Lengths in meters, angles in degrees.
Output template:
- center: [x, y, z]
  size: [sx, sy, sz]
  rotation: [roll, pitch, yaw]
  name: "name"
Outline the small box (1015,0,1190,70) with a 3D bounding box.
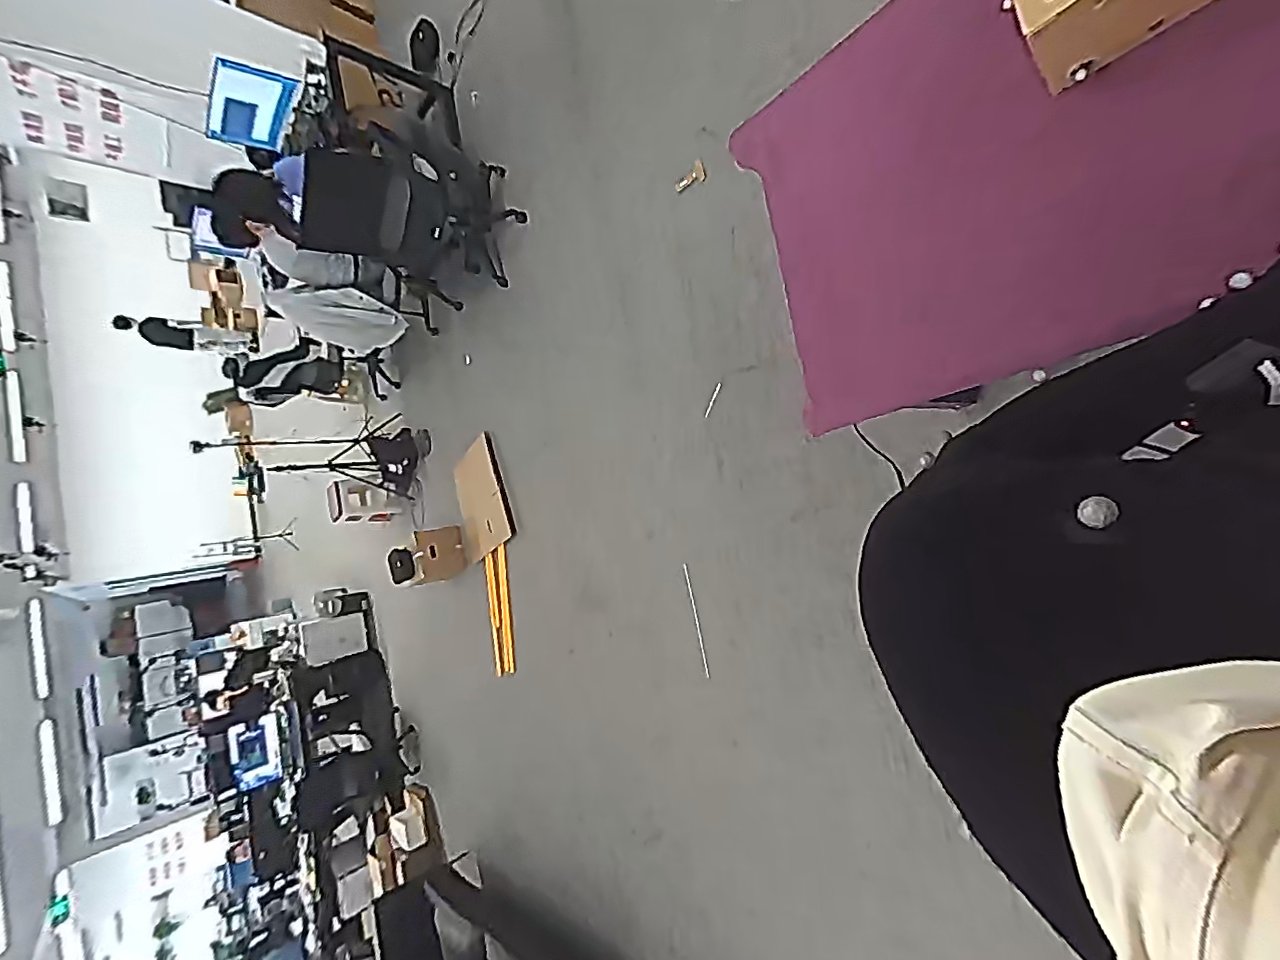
- center: [0.530, -0.617, 0.615]
  size: [0.168, 0.176, 0.179]
  rotation: [-18, 82, 46]
  name: "small box"
